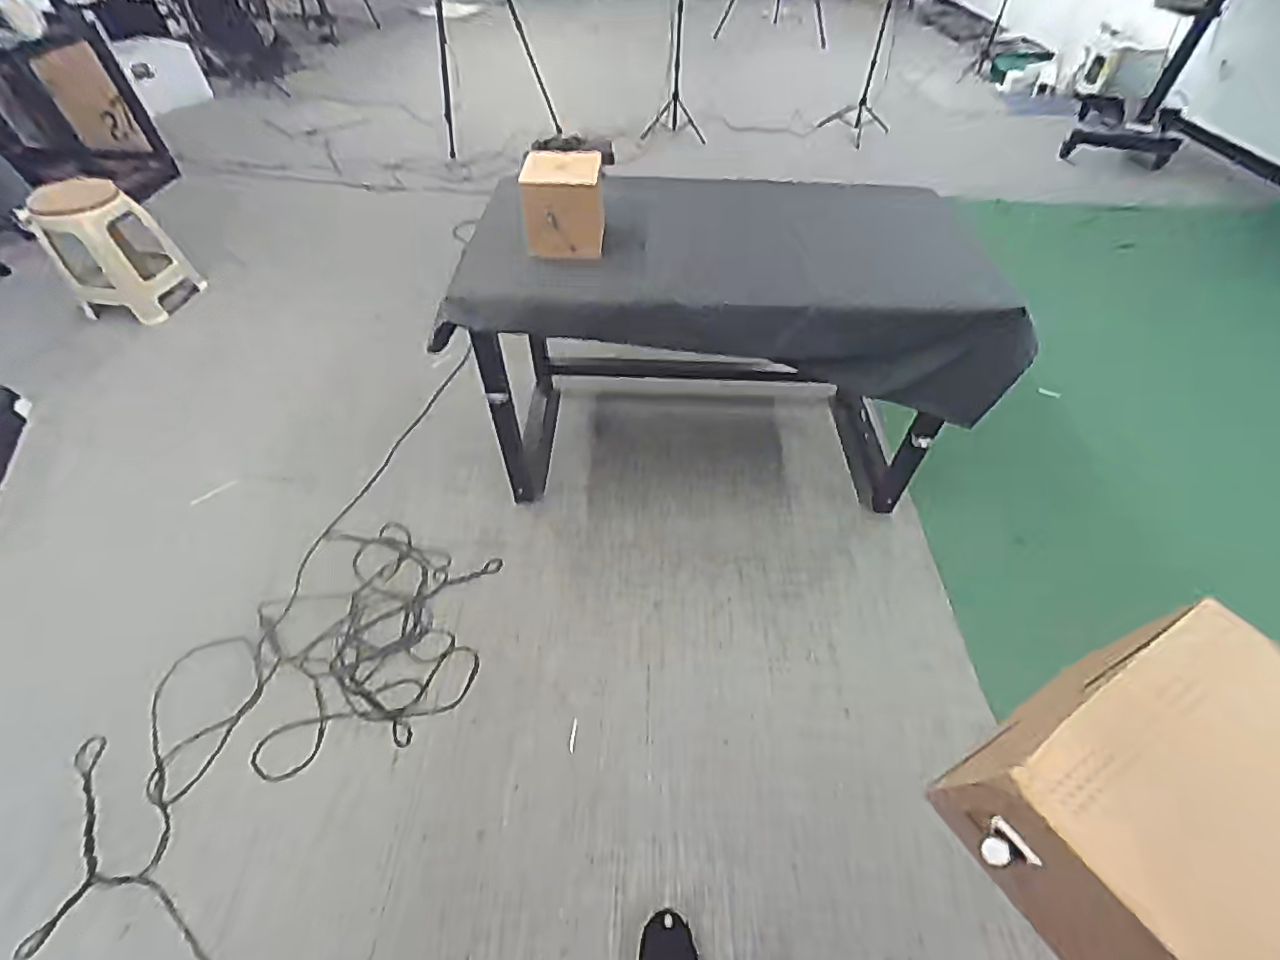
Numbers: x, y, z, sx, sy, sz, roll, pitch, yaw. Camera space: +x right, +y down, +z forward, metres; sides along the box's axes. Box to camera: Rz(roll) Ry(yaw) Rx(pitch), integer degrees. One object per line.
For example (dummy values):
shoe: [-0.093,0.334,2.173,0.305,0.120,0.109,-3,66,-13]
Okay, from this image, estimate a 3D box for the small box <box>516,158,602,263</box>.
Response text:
small box: [-0.175,-0.610,1.229,0.168,0.176,0.179,0,48,-1]

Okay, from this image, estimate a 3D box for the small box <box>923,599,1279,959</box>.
small box: [0.319,0.203,0.331,0.179,0.168,0.176,-32,55,-10]
